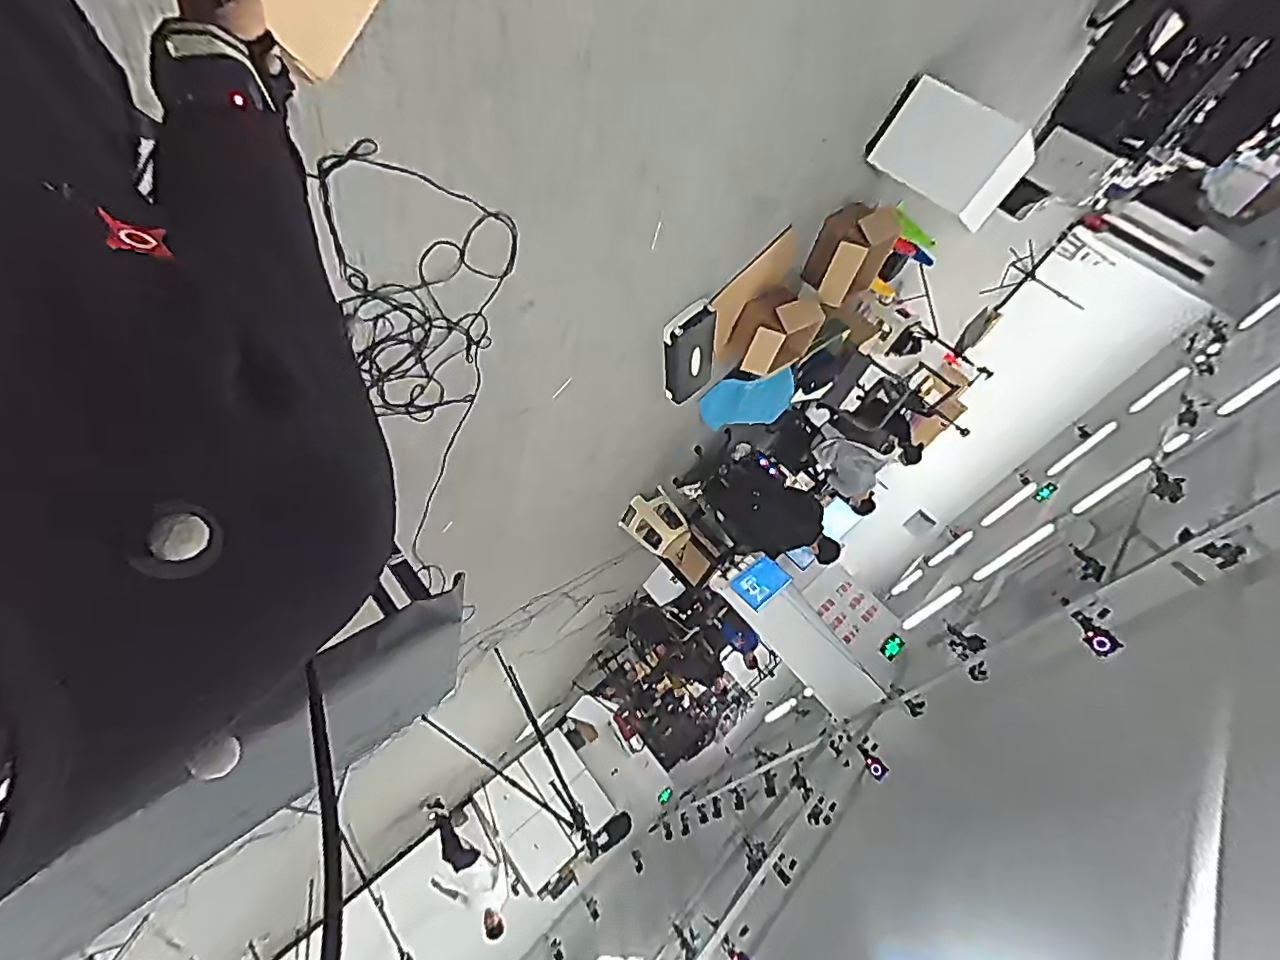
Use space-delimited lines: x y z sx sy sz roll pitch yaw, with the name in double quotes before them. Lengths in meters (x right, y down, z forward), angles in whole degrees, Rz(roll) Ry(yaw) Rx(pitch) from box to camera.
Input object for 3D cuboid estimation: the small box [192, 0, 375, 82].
"small box" -0.351 -0.512 0.478 0.179 0.176 0.168 -57 158 2
